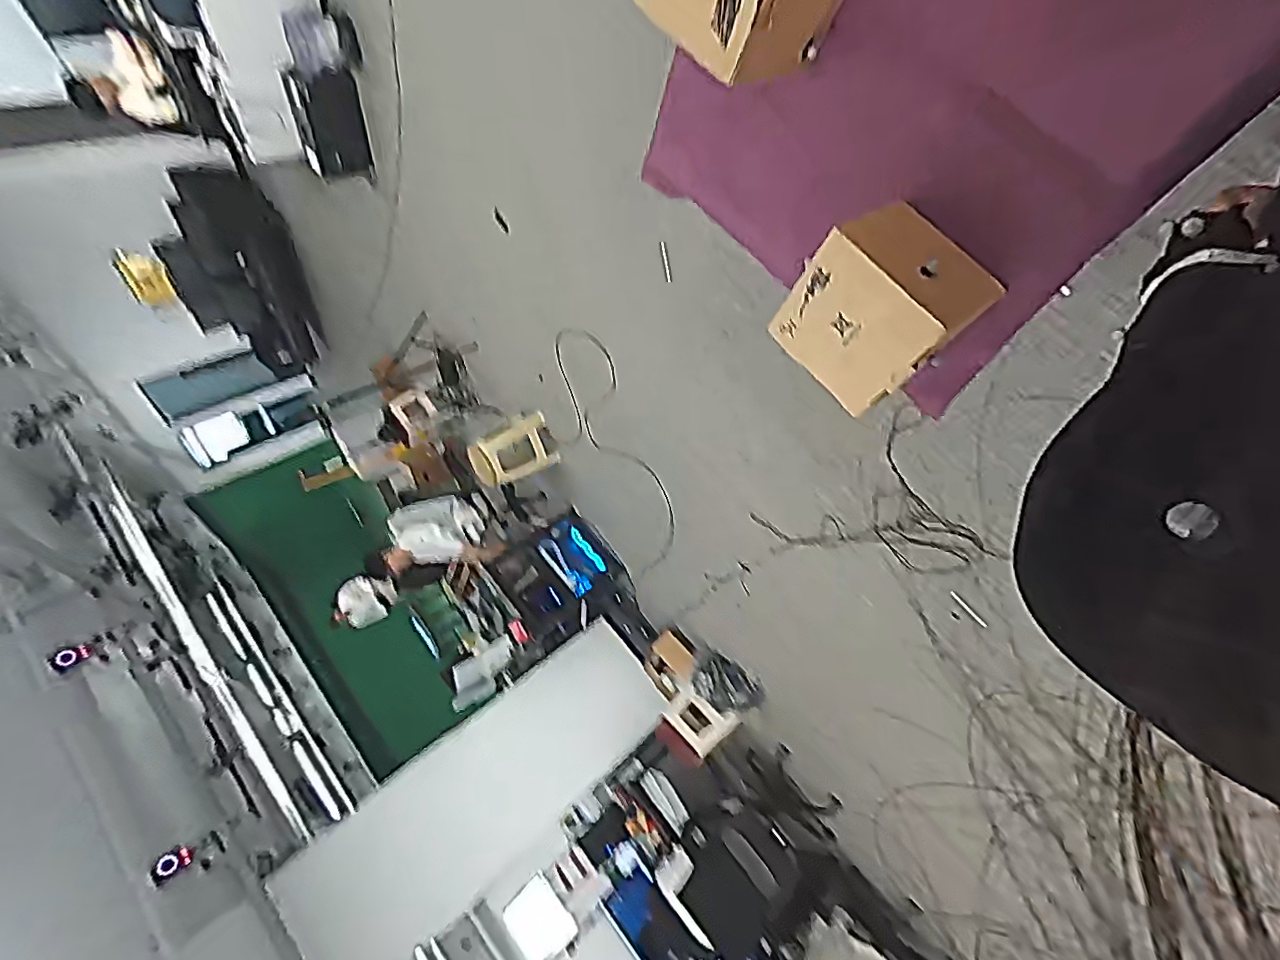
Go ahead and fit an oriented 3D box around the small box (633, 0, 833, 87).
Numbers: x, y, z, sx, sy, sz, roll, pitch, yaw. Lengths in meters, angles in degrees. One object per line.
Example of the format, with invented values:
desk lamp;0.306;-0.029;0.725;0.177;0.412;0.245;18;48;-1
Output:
small box;0.127;-0.596;0.617;0.179;0.176;0.168;49;148;12

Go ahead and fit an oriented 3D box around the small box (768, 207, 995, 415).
small box;0.310;-0.223;0.702;0.179;0.176;0.168;49;148;13
